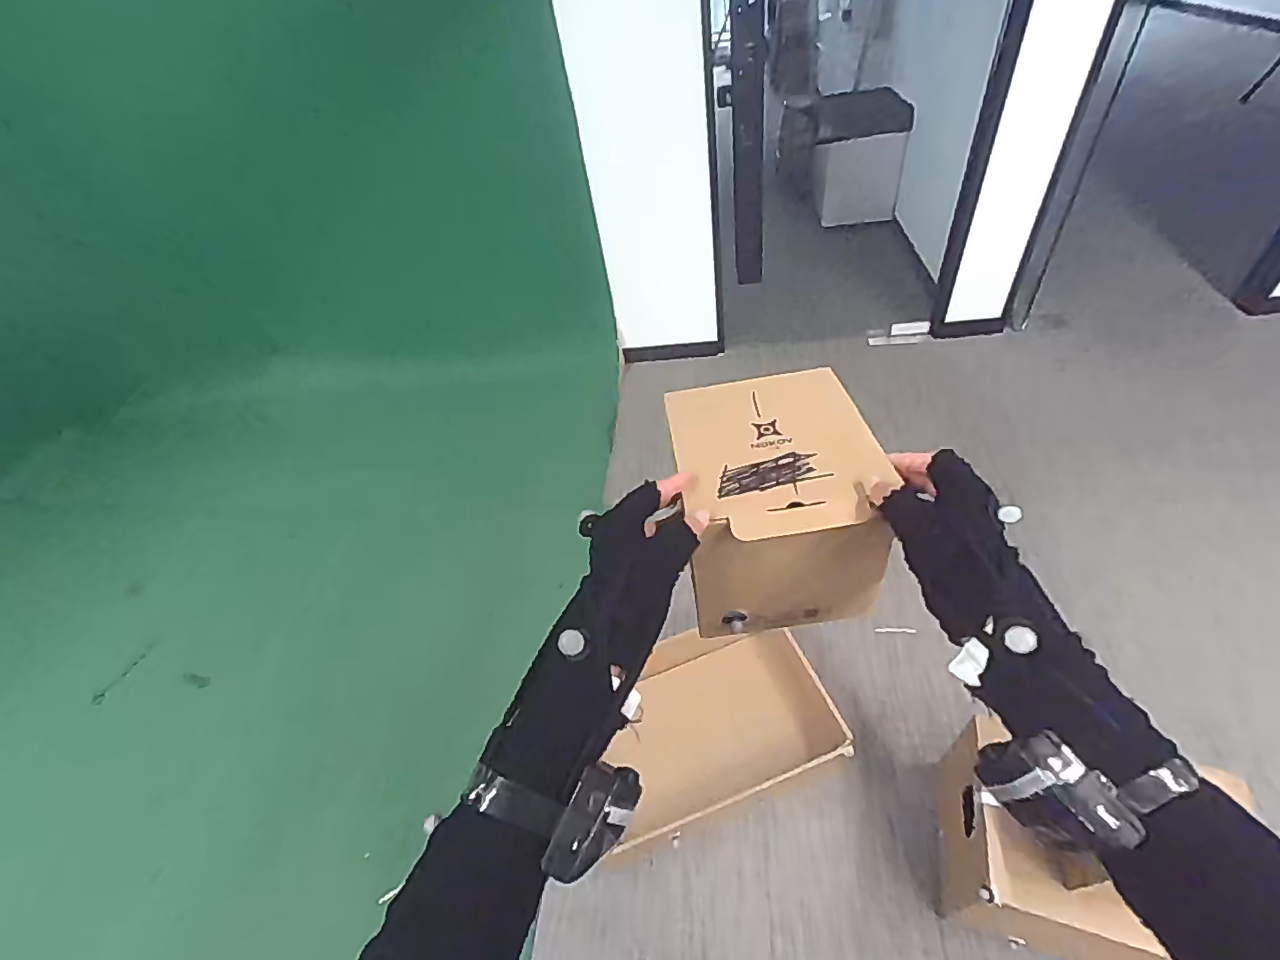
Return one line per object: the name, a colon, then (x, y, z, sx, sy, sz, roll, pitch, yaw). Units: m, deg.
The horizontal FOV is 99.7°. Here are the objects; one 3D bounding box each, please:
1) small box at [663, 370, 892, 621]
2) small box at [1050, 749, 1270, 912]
small box: (0.114, 0.020, 0.515, 0.168, 0.176, 0.179, -6, 41, 3)
small box: (0.771, 0.542, 0.835, 0.179, 0.176, 0.168, 3, 48, 15)
